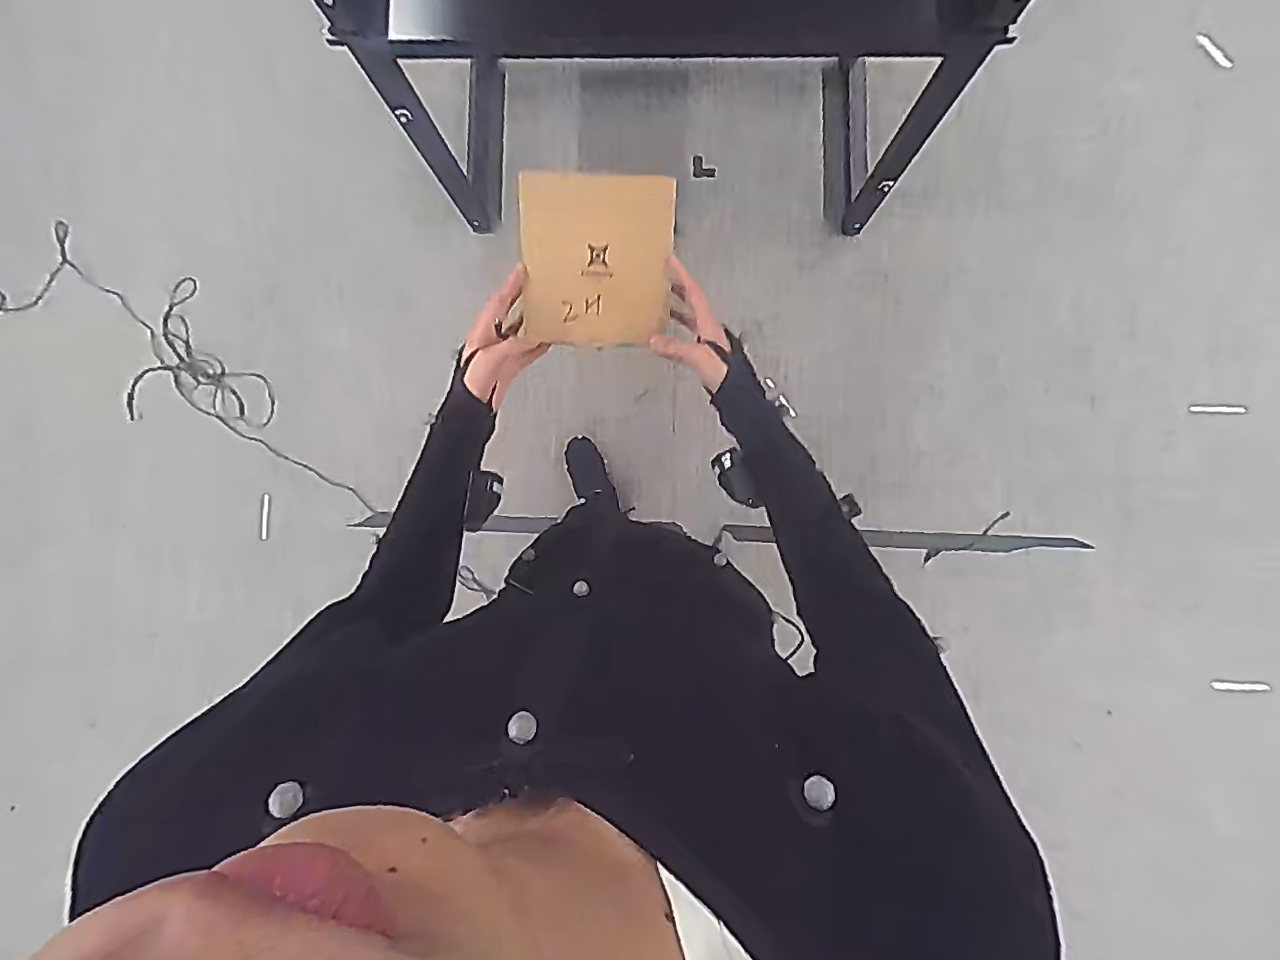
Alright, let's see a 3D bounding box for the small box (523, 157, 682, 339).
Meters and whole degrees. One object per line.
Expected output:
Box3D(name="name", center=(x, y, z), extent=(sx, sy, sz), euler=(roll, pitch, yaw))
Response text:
Box3D(name="small box", center=(-0.045, -0.273, 0.653), extent=(0.168, 0.176, 0.179), euler=(1, 113, -2))
